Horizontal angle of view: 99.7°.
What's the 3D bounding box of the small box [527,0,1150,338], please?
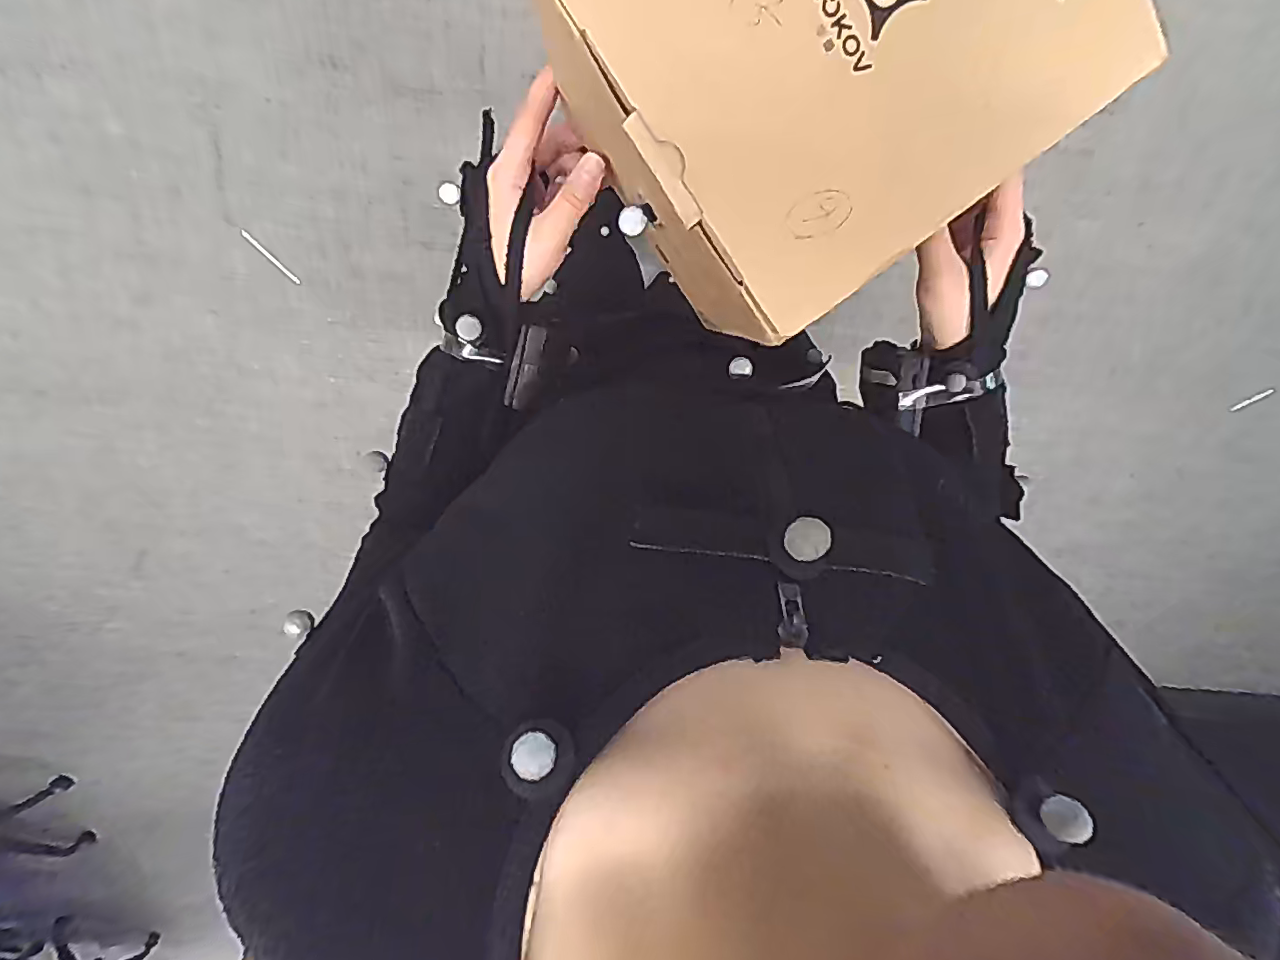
[{"bbox_3d":[0.071,-0.190,0.270,0.179,0.176,0.168,-36,105,9],"label":"small box"}]
